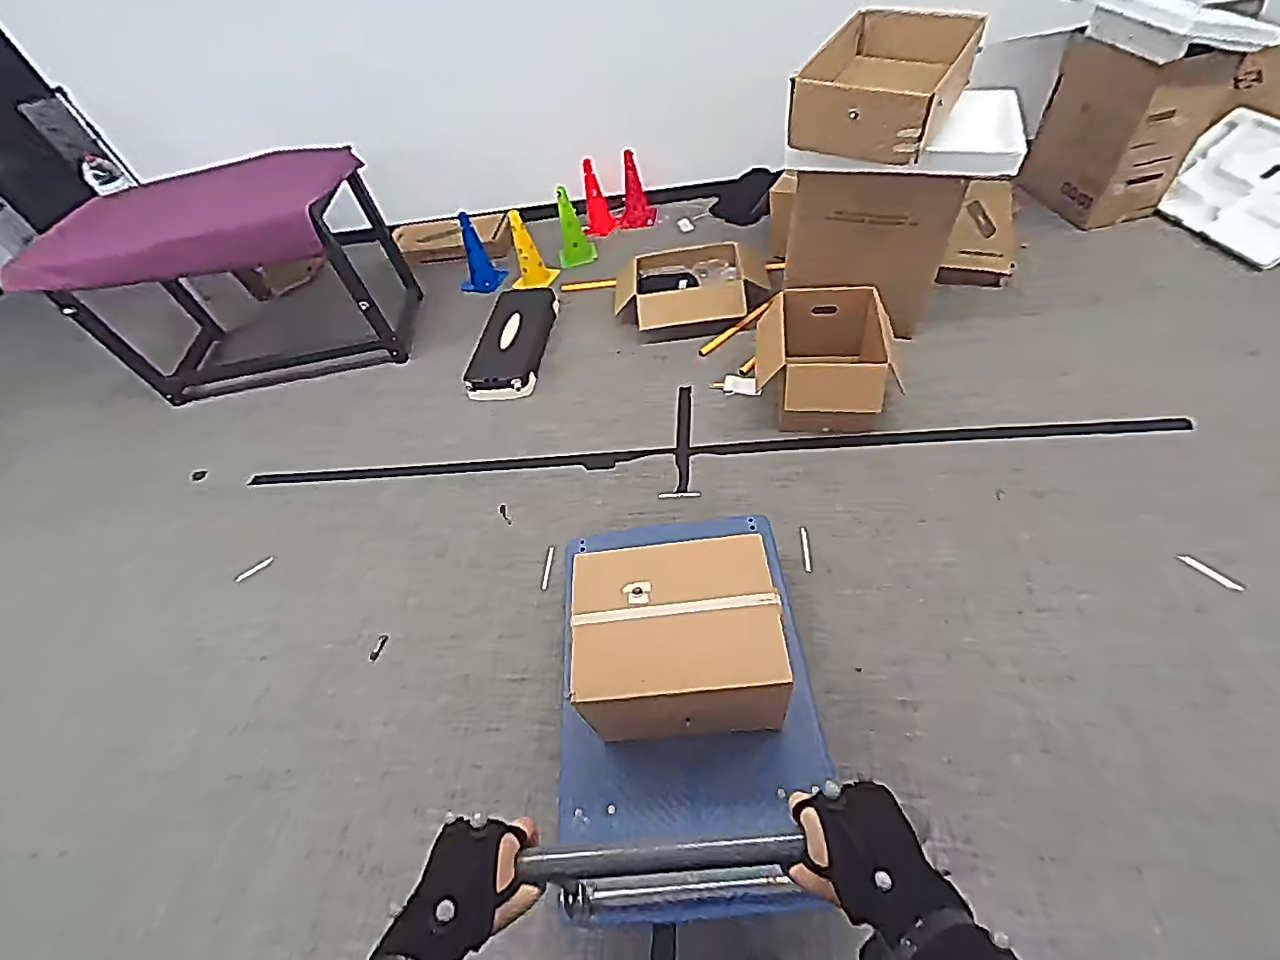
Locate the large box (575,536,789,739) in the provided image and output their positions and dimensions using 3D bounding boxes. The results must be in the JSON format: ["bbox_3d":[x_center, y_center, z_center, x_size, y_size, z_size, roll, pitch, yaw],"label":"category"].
[{"bbox_3d":[0.090,0.358,1.196,0.408,0.320,0.320,-8,50,5],"label":"large box"}]
